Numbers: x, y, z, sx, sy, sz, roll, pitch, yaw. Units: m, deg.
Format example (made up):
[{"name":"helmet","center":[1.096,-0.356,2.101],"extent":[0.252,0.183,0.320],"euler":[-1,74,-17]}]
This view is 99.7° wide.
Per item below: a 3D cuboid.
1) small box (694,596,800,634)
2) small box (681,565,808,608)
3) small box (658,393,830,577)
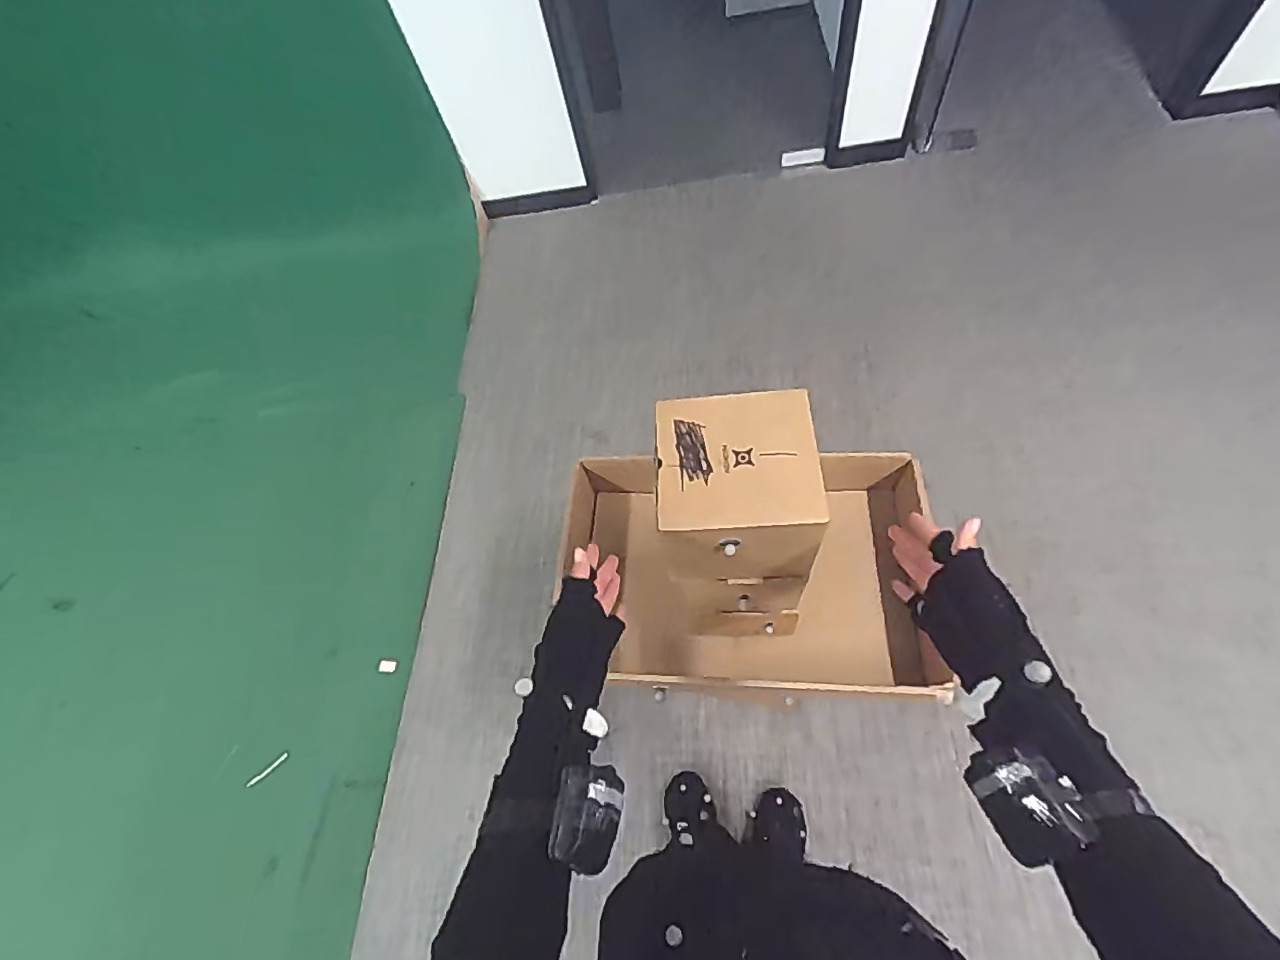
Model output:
[{"name":"small box","center":[0.181,0.166,0.942],"extent":[0.168,0.176,0.179],"euler":[-2,61,8]},{"name":"small box","center":[0.150,0.088,0.801],"extent":[0.168,0.176,0.179],"euler":[-2,63,8]},{"name":"small box","center":[0.118,0.015,0.656],"extent":[0.179,0.176,0.168],"euler":[-3,62,7]}]
